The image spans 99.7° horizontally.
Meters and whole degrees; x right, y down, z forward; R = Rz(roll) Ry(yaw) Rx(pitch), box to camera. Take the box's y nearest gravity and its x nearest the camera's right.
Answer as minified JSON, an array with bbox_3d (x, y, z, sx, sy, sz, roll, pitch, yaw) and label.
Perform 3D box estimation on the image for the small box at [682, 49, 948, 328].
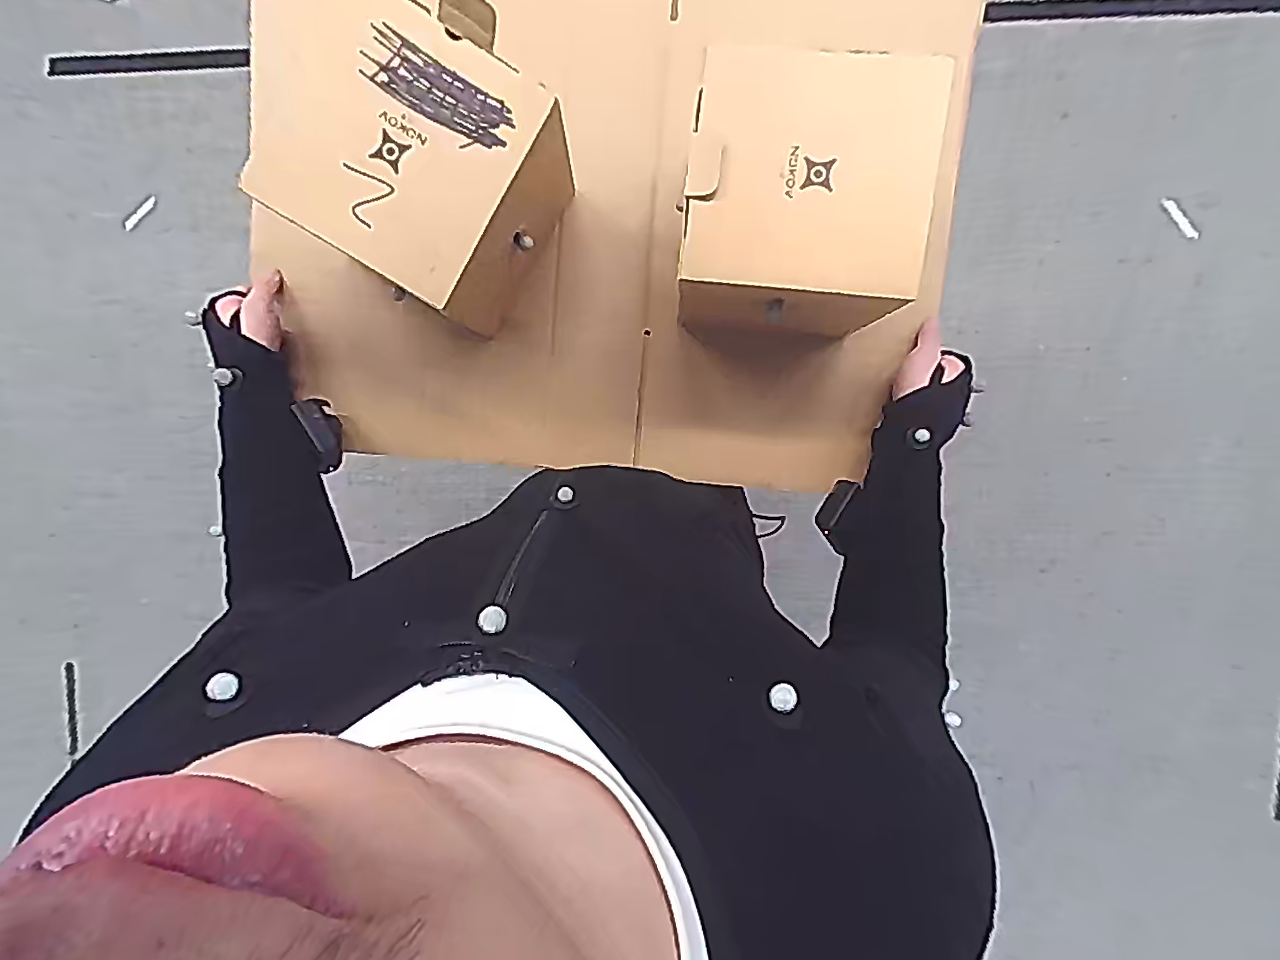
[{"bbox_3d":[0.133,-0.236,0.482,0.179,0.176,0.168,6,97,4],"label":"small box"}]
